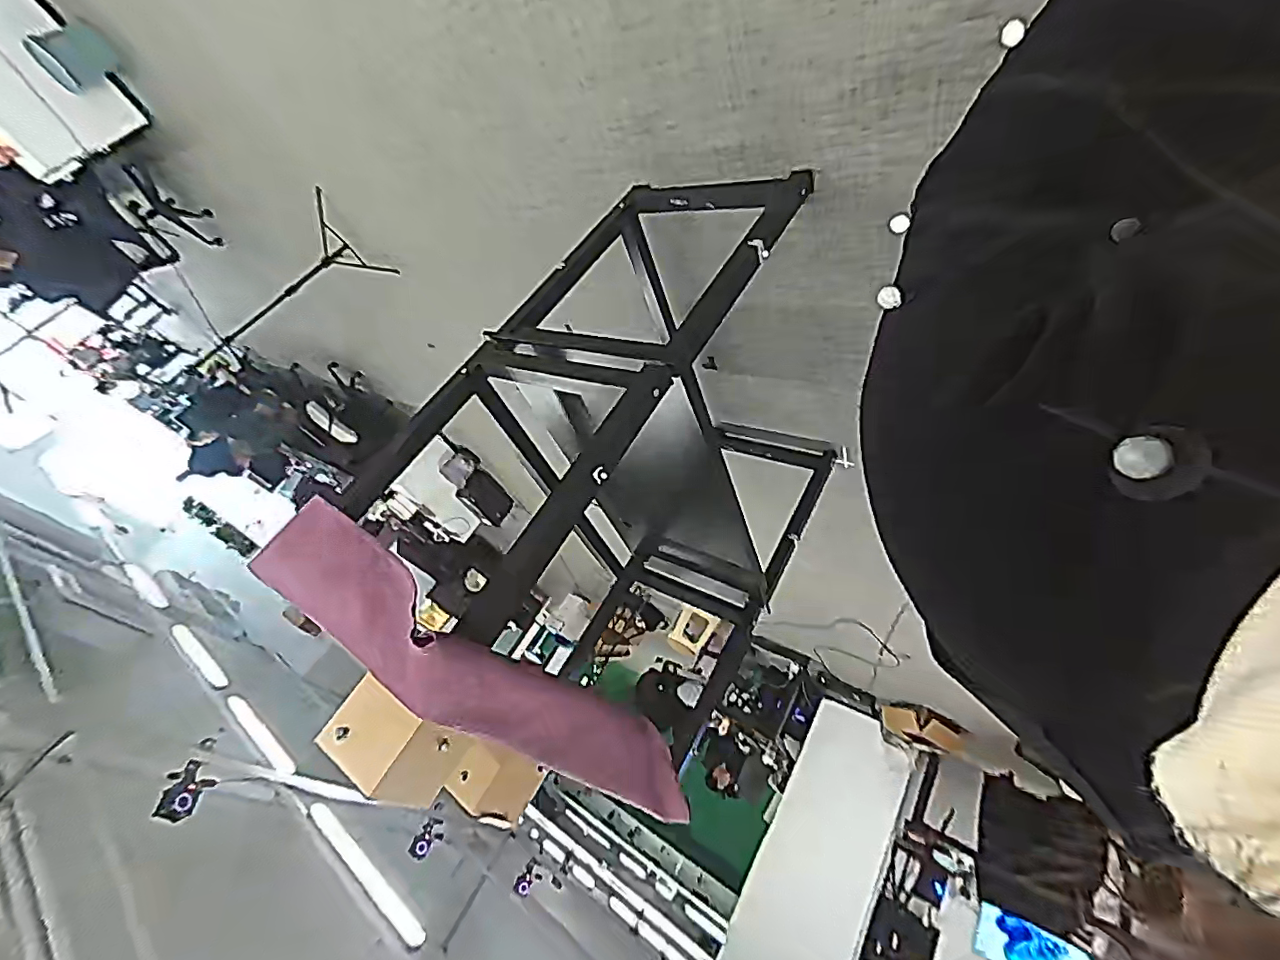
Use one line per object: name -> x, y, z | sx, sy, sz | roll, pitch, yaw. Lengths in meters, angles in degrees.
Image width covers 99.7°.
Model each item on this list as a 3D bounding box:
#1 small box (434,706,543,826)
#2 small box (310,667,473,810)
small box -> -0.348, 0.655, 1.248 | 0.179, 0.176, 0.168 | 15, 151, 39
small box -> -0.446, 0.465, 0.994 | 0.179, 0.176, 0.168 | 19, 154, 31
